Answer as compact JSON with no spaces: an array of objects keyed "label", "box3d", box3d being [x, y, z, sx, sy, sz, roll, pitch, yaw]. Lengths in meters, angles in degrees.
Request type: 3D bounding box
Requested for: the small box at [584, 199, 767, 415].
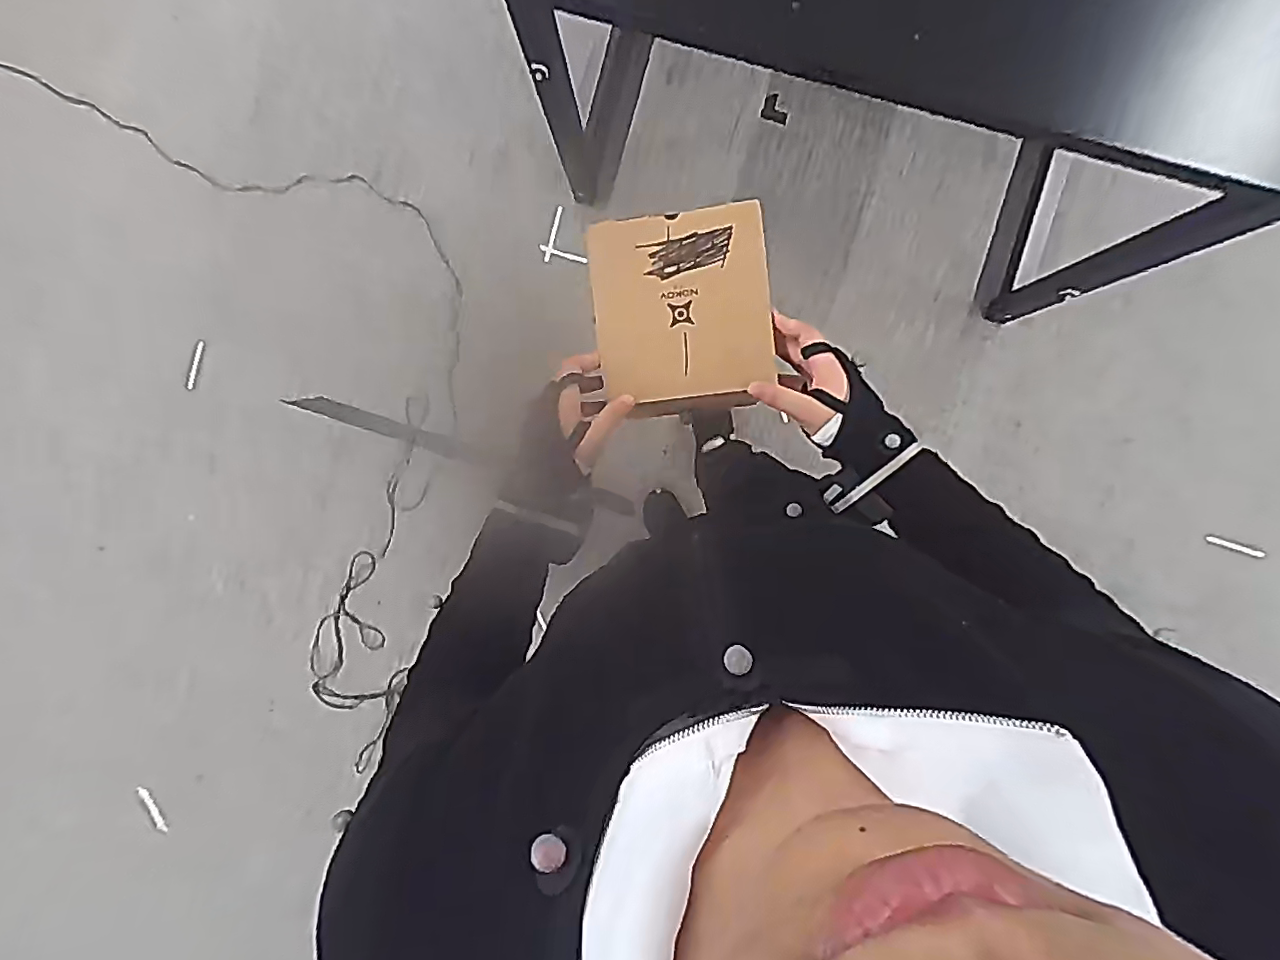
[{"label":"small box","box3d":[0.038,-0.173,0.594,0.168,0.176,0.179,-6,92,5]}]
